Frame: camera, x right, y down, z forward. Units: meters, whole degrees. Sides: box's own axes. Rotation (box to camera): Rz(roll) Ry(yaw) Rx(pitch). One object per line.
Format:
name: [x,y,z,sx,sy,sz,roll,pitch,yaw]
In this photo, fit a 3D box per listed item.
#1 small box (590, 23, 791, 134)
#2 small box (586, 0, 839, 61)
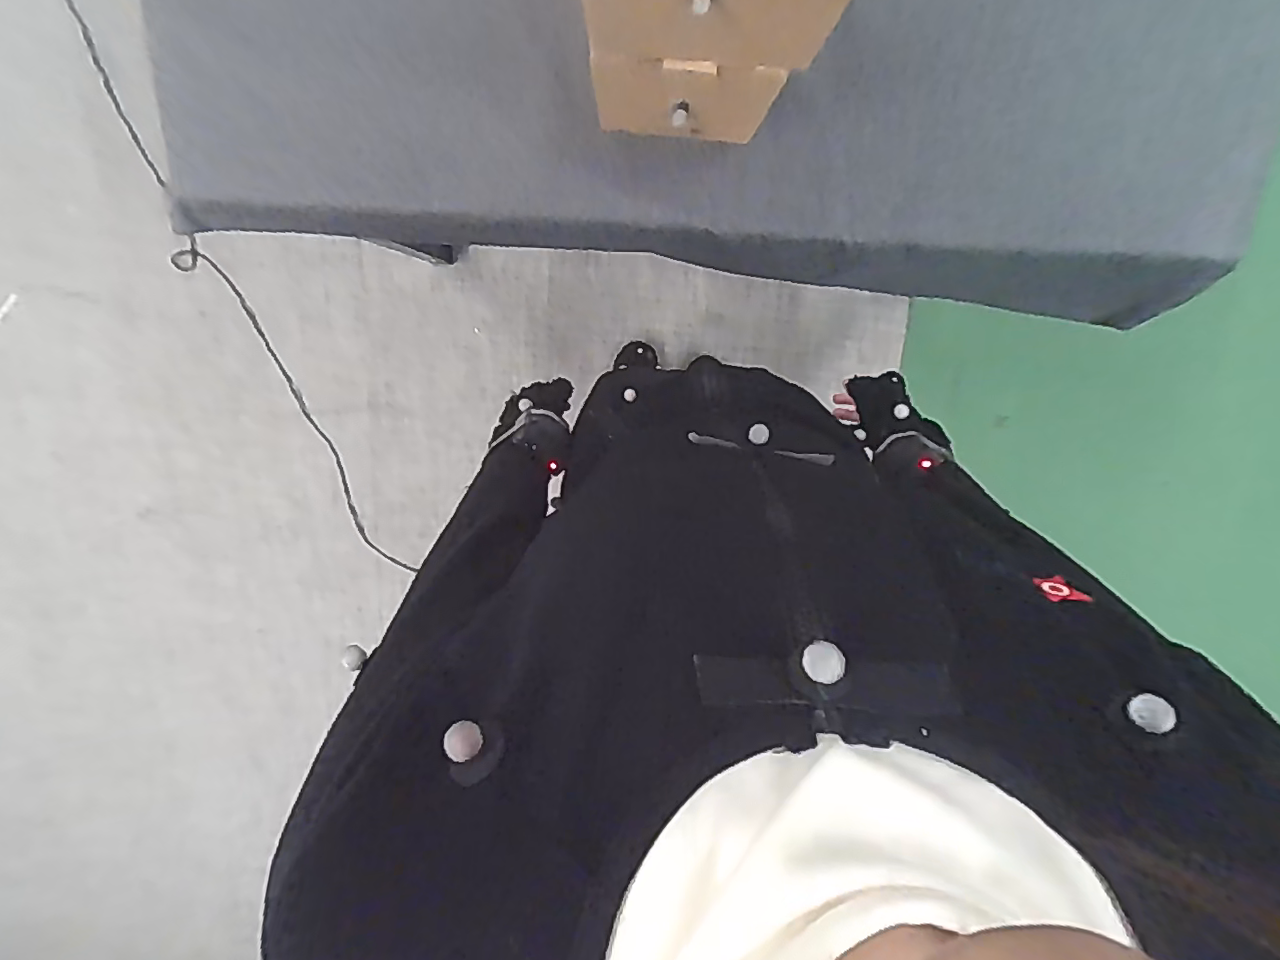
small box: [0.049,-0.440,0.490,0.168,0.176,0.179,4,105,0]
small box: [0.053,-0.393,0.332,0.179,0.176,0.168,4,105,1]
